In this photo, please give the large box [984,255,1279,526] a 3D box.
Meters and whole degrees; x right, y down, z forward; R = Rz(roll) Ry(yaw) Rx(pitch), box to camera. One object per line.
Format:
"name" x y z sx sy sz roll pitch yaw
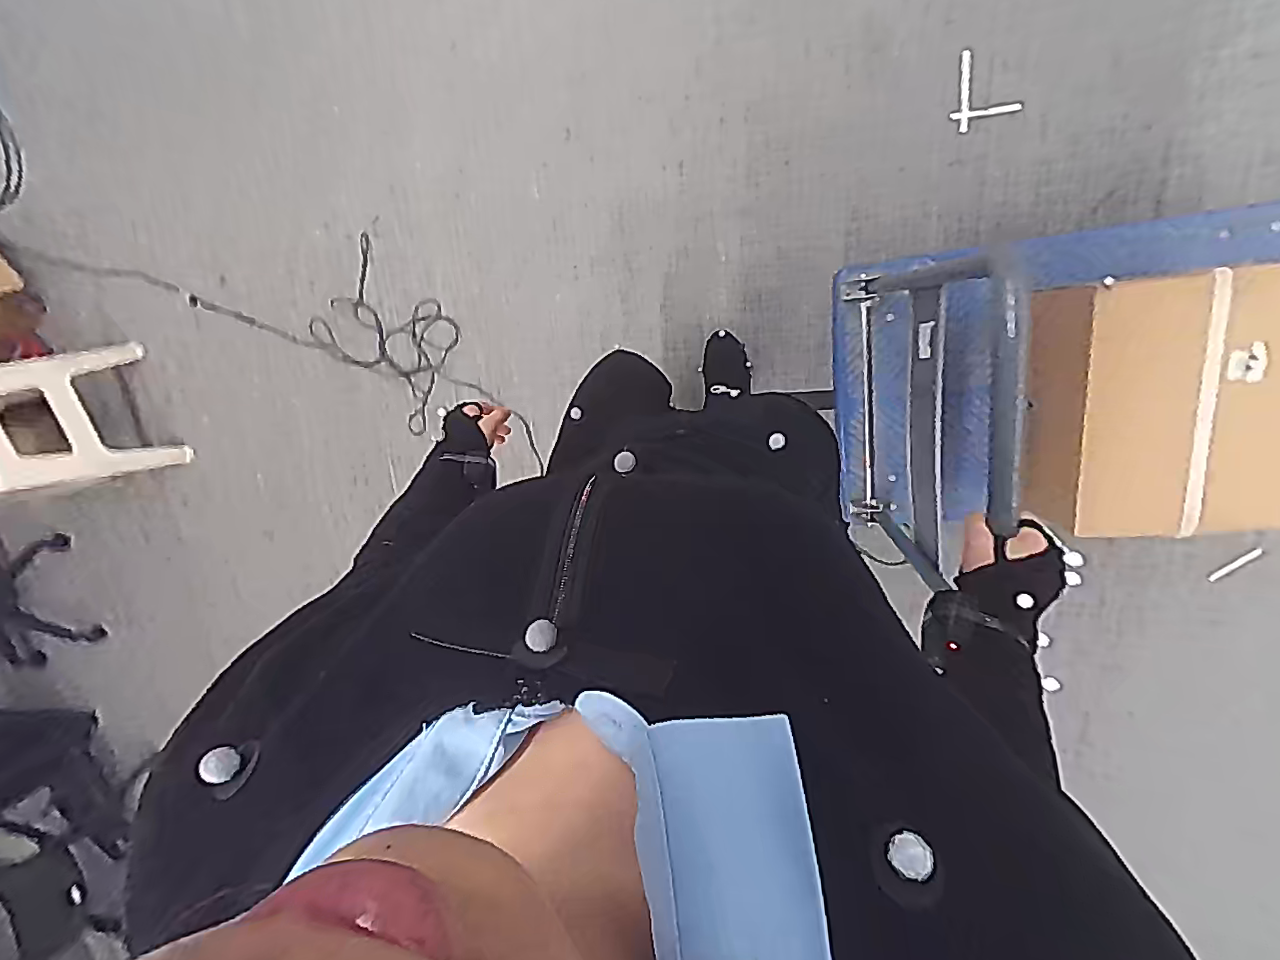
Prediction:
"large box" 0.865 -0.160 0.996 0.320 0.320 0.408 -5 103 11
